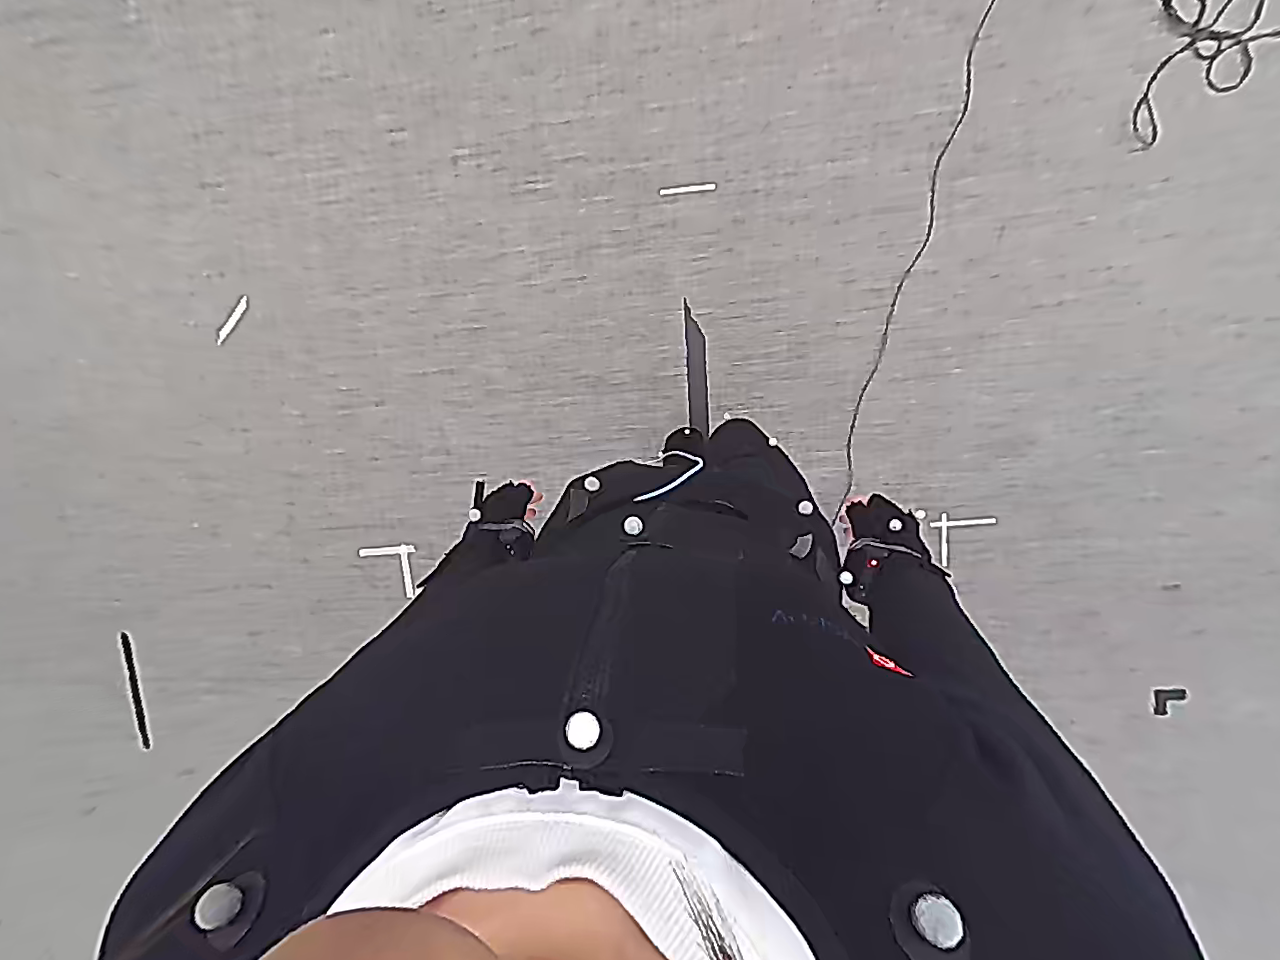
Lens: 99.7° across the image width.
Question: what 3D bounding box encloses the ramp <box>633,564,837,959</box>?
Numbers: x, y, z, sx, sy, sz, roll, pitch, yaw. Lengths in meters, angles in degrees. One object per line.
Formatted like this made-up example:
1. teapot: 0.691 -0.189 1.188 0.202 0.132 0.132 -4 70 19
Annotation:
1. ramp: 0.230 0.725 1.397 0.509 0.206 0.991 -3 94 9
